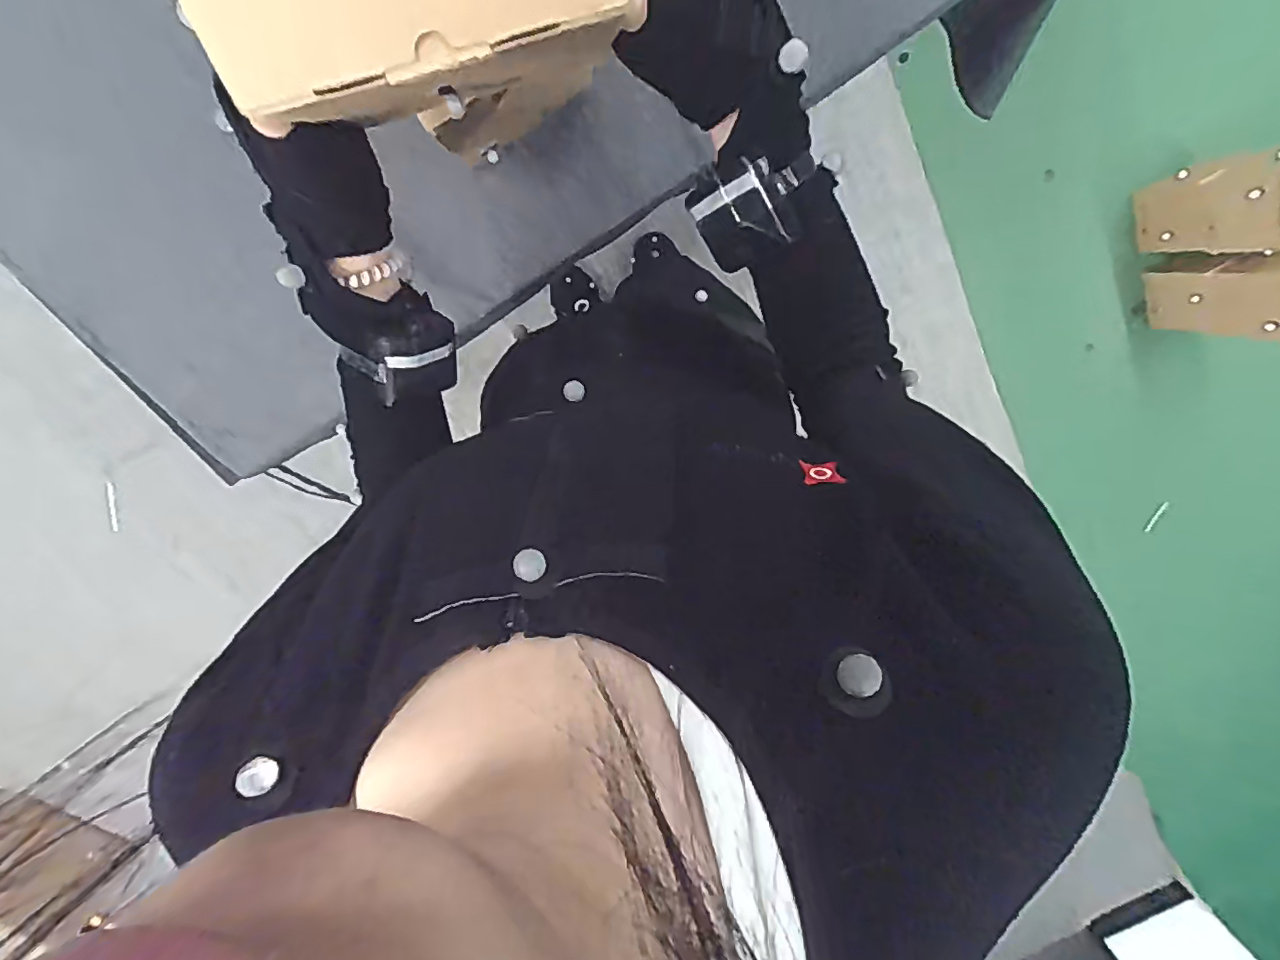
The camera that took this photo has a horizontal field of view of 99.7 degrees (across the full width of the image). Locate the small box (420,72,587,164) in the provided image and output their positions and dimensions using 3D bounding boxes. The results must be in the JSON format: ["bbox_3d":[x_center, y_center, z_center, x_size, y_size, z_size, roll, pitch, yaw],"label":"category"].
[{"bbox_3d":[-0.159,-0.424,0.501,0.168,0.176,0.179,-32,109,7],"label":"small box"}]

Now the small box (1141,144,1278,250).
[{"bbox_3d":[1.390,-0.686,1.334,0.179,0.176,0.168,-27,111,5],"label":"small box"}]

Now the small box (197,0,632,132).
[{"bbox_3d":[-0.112,-0.281,0.249,0.168,0.176,0.179,-16,124,1],"label":"small box"}]
